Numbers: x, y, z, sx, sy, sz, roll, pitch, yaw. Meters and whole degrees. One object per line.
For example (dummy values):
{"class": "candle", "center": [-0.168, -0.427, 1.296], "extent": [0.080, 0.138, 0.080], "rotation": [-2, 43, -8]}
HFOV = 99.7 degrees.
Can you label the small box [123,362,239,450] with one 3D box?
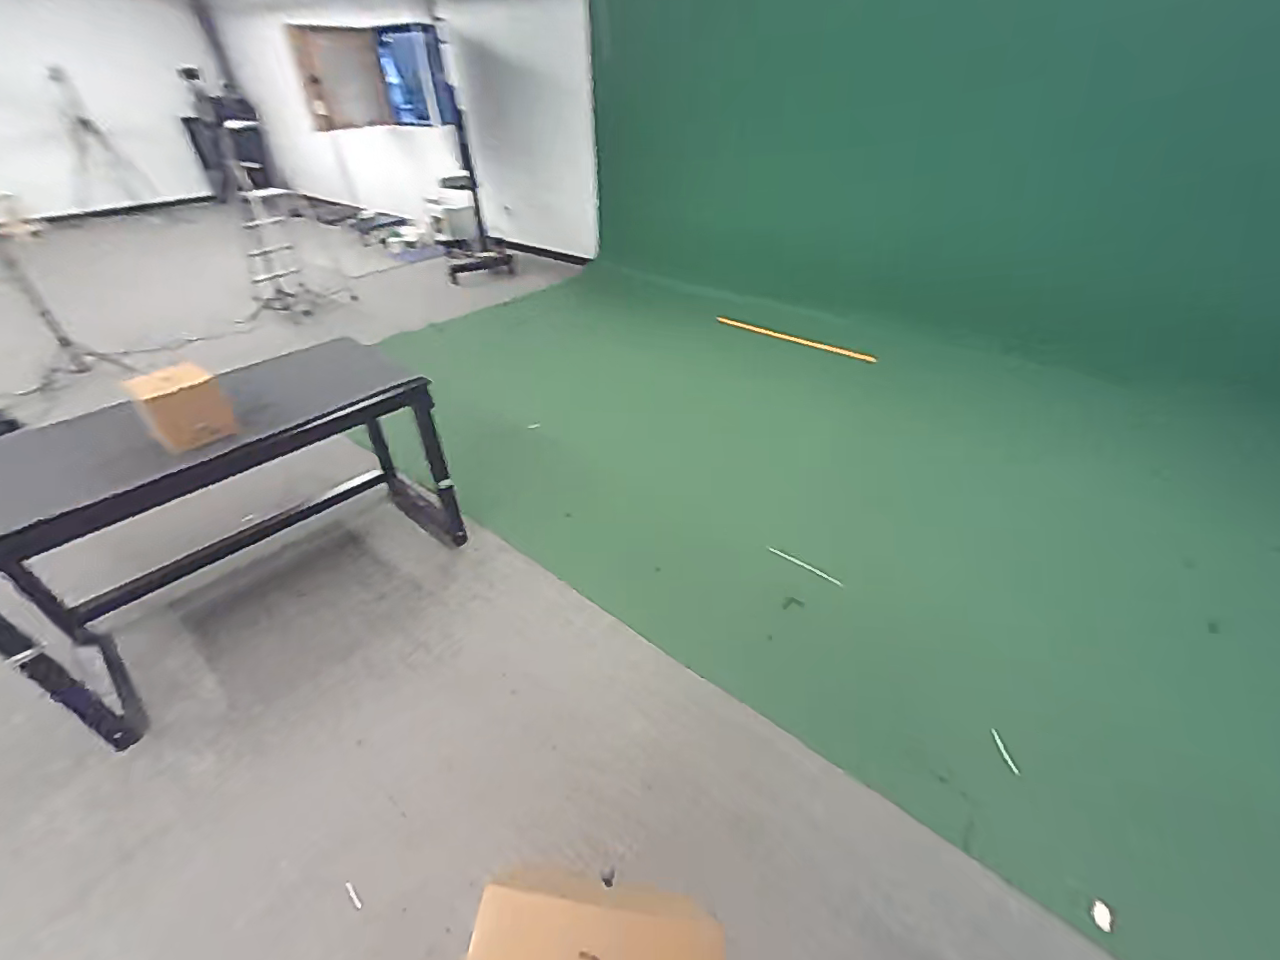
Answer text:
{"class": "small box", "center": [-1.258, -0.205, 1.490], "extent": [0.179, 0.176, 0.168], "rotation": [24, 43, 30]}
